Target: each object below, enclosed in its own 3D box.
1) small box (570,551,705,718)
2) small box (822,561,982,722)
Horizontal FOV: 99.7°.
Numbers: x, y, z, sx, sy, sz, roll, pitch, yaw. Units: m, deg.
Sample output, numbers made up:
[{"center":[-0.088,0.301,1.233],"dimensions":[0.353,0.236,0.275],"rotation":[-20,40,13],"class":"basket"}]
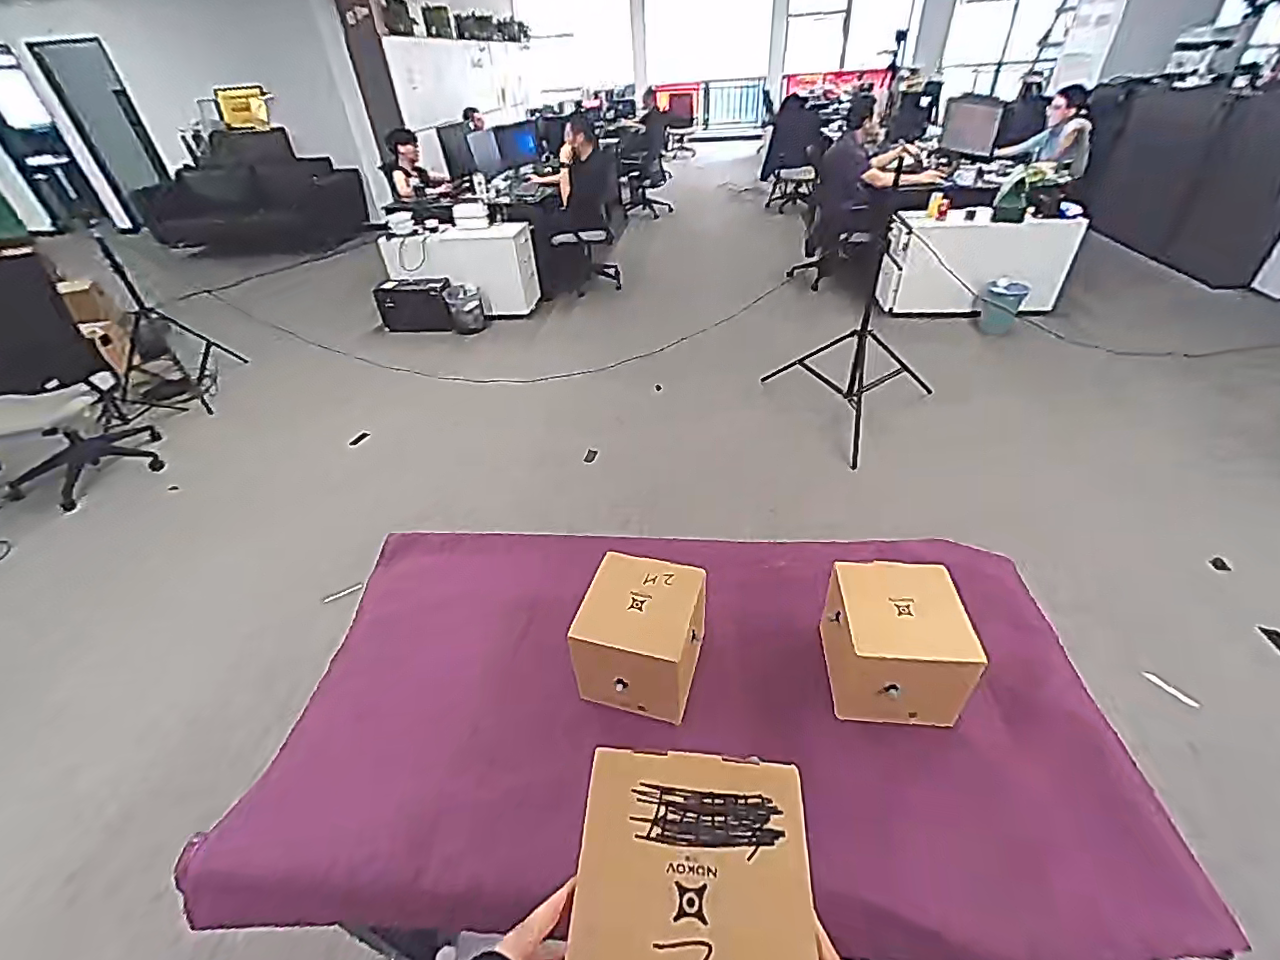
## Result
[{"center":[0.006,0.244,0.858],"dimensions":[0.168,0.176,0.179],"rotation":[9,39,15],"class":"small box"},{"center":[0.382,0.245,0.825],"dimensions":[0.168,0.176,0.179],"rotation":[0,37,7],"class":"small box"}]
